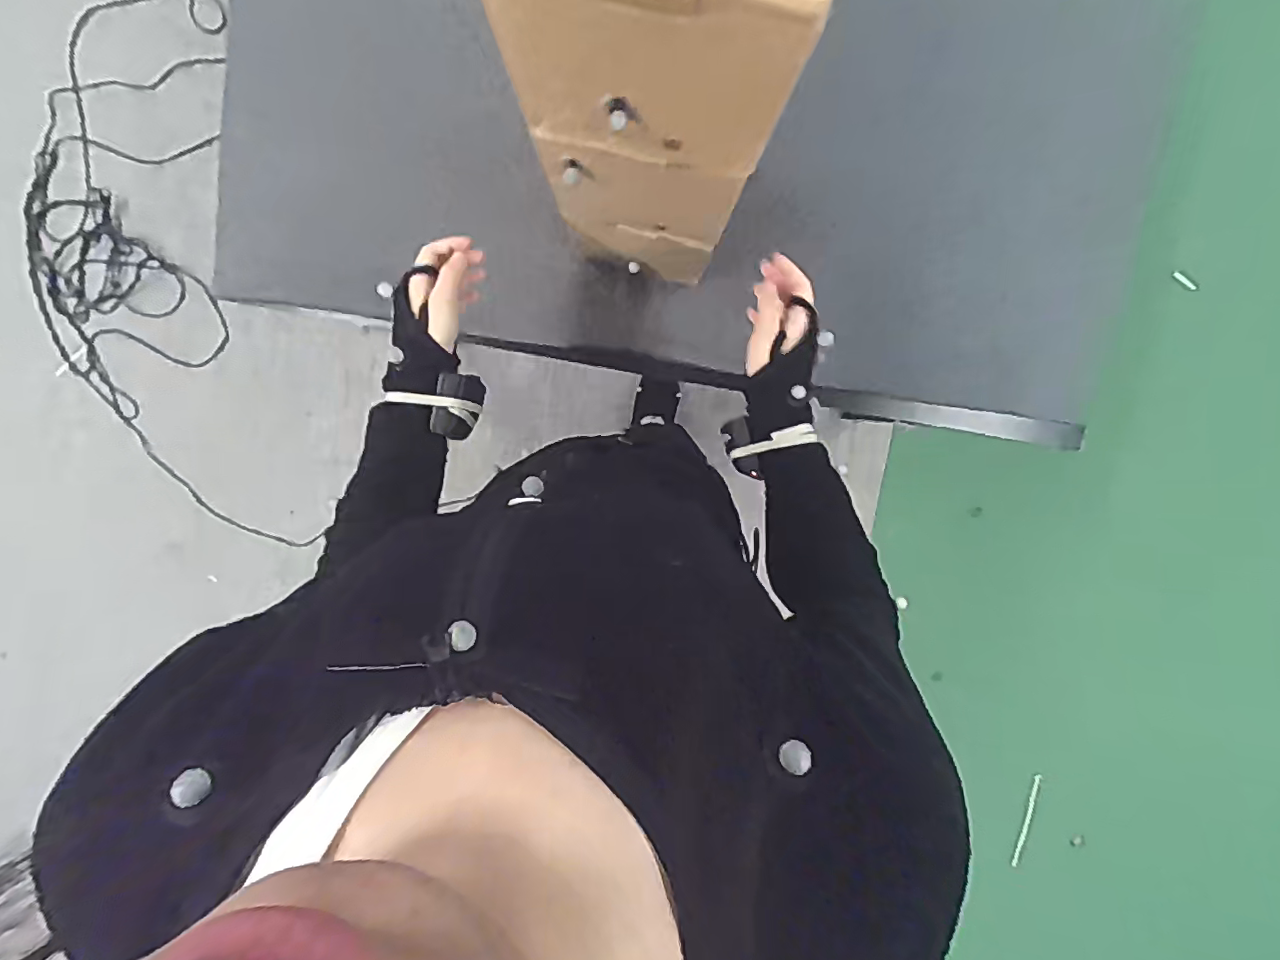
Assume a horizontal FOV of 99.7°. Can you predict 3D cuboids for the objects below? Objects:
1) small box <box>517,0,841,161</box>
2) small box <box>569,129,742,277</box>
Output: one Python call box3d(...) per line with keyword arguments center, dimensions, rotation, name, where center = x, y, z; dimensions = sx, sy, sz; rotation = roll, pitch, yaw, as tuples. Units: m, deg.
box3d(center=(0.023, -0.317, 0.299), dimensions=(0.168, 0.176, 0.179), rotation=(10, 97, -2), name="small box")
box3d(center=(0.025, -0.358, 0.623), dimensions=(0.168, 0.176, 0.179), rotation=(14, 98, -2), name="small box")
